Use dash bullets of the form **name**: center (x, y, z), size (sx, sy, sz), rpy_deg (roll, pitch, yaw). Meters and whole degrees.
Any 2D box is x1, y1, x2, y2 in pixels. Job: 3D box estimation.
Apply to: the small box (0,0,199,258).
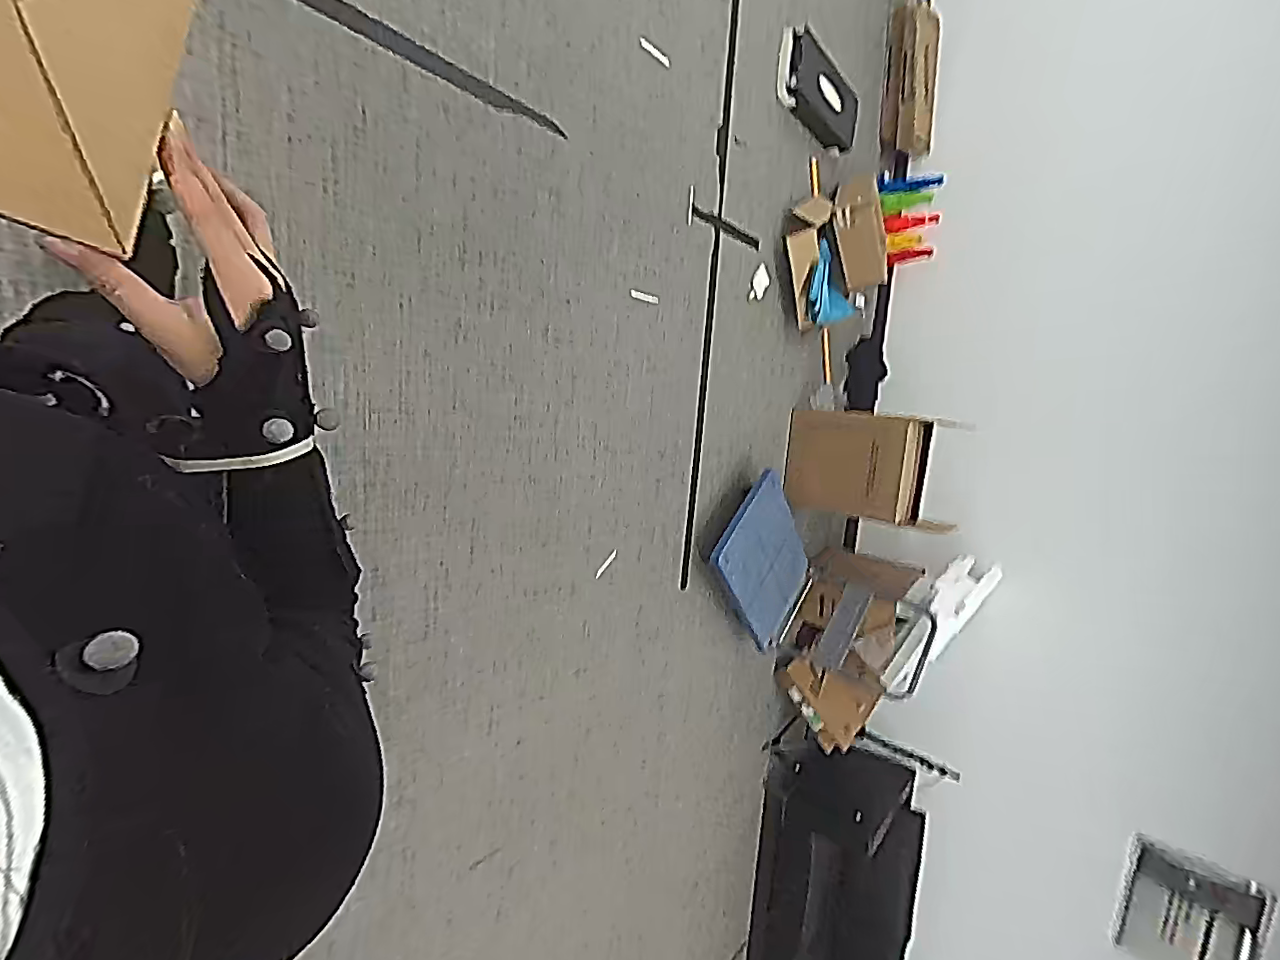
- **small box**: center (-0.340, -0.230, 0.265), size (0.168, 0.176, 0.179), rpy_deg (14, 97, -47)
